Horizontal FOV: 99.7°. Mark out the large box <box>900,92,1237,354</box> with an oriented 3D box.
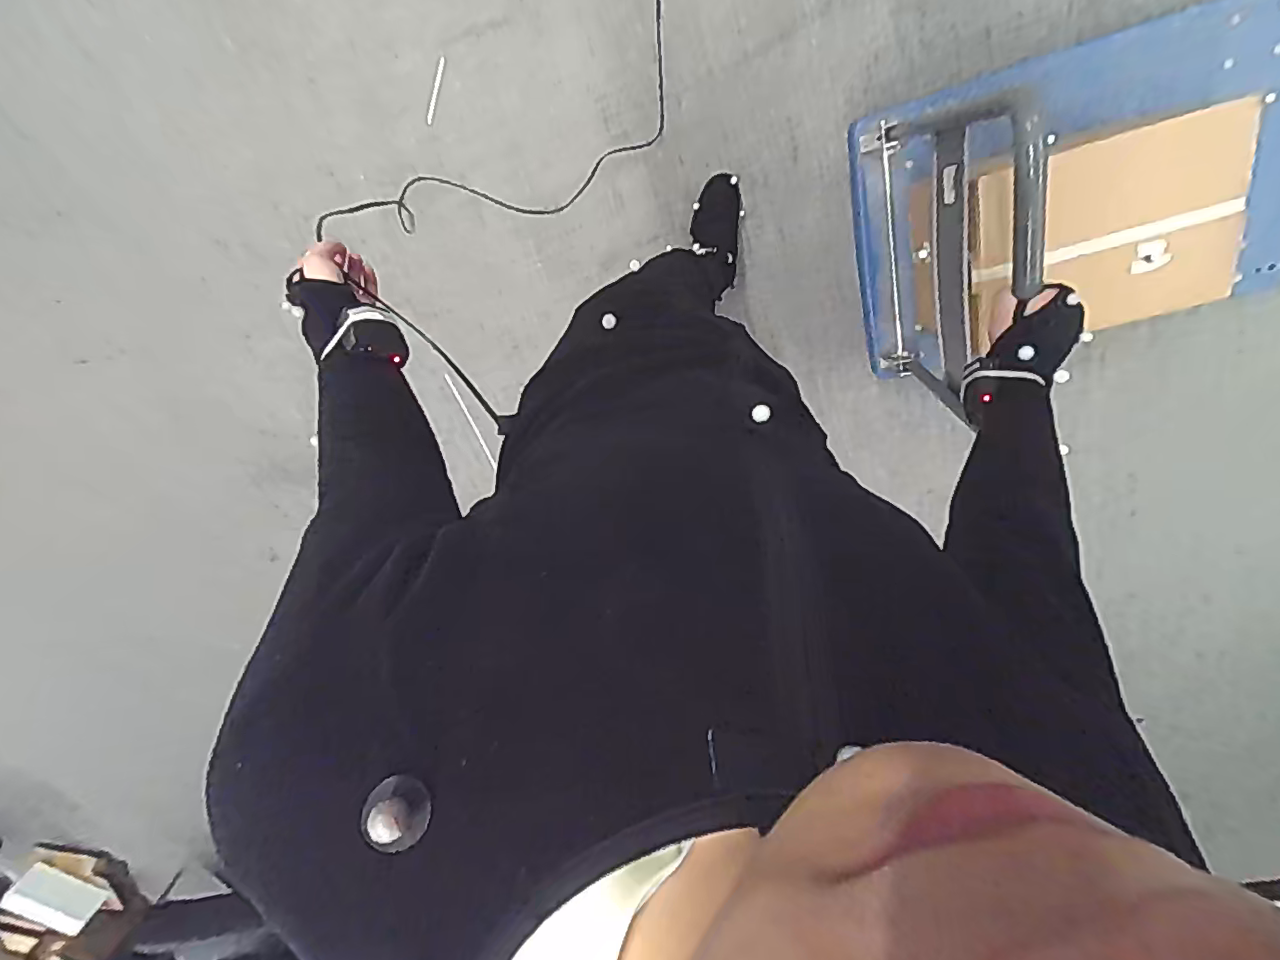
[{"bbox_3d":[0.783,-0.481,1.060,0.408,0.320,0.320,-13,115,11],"label":"large box"}]
